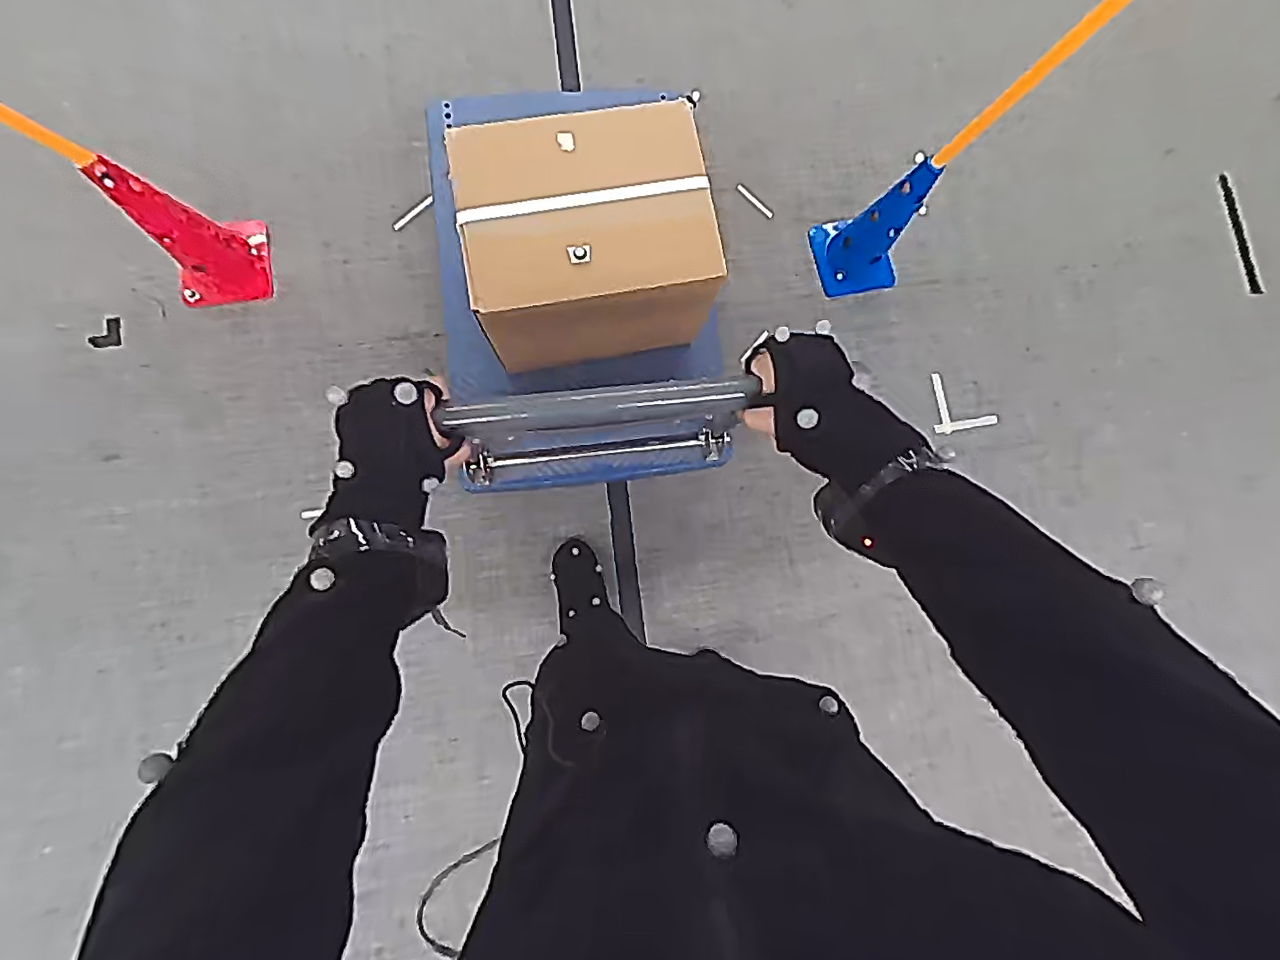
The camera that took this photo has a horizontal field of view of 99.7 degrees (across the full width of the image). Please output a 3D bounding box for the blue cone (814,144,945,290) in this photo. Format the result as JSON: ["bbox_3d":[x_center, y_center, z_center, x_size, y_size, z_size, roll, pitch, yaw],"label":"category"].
[{"bbox_3d":[0.573,-0.612,1.248,0.193,0.380,0.192,-11,83,-6],"label":"blue cone"}]
